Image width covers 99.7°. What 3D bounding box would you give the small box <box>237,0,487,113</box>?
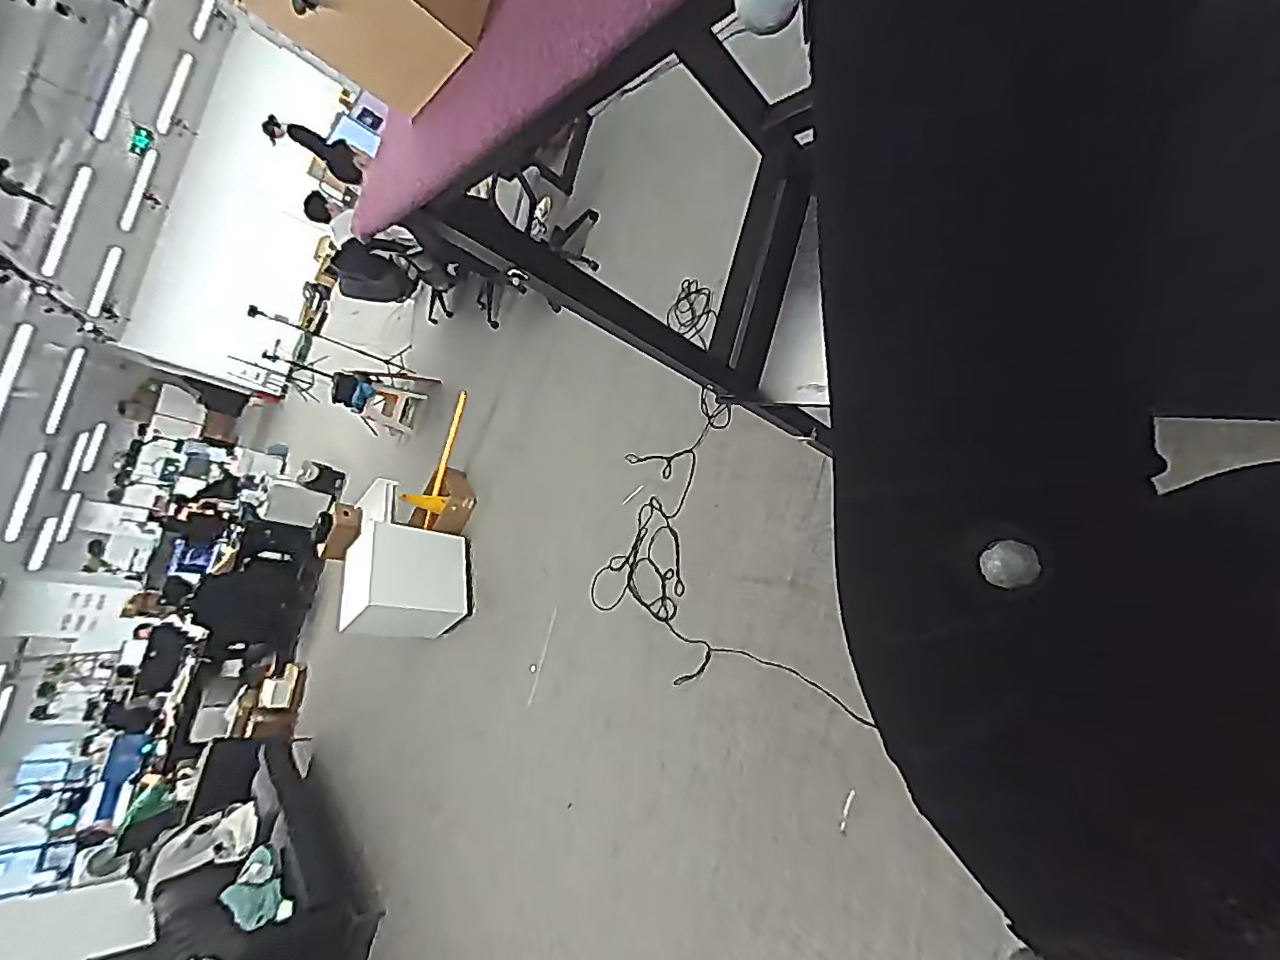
[{"bbox_3d":[-0.242,-0.490,0.500,0.179,0.176,0.168,10,85,49],"label":"small box"}]
